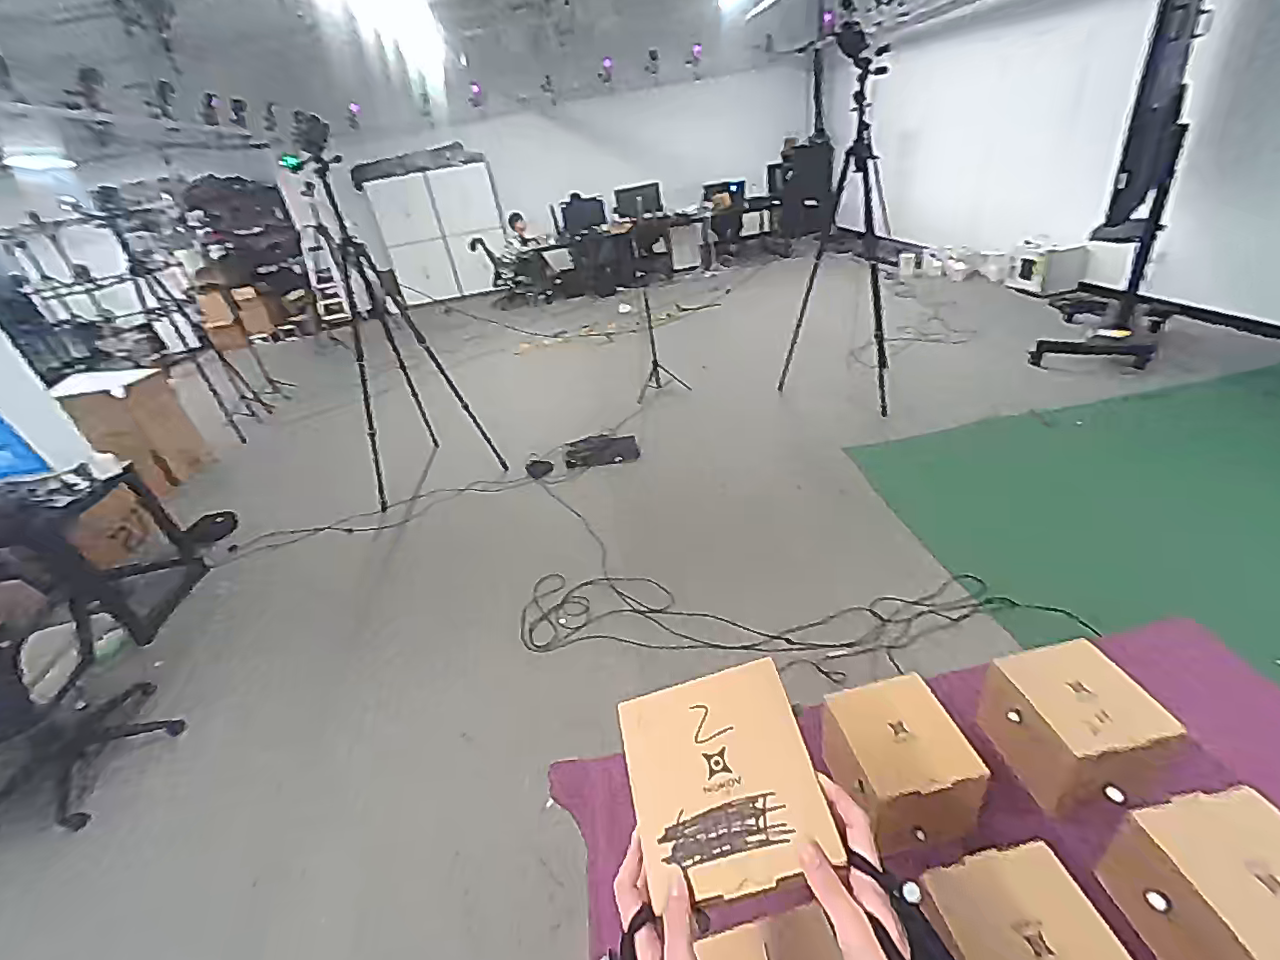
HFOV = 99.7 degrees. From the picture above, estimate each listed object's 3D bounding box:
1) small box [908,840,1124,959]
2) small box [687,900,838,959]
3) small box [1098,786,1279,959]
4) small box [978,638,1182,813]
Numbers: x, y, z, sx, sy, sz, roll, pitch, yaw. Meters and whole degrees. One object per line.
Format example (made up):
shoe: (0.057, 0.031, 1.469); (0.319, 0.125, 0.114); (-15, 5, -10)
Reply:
small box: (0.443, 0.576, 0.641); (0.168, 0.176, 0.179); (-13, 32, -1)
small box: (0.164, 0.640, 0.621); (0.168, 0.176, 0.179); (-14, 29, -5)
small box: (0.712, 0.514, 0.652); (0.168, 0.176, 0.179); (-12, 30, 0)
small box: (0.678, 0.388, 0.863); (0.168, 0.176, 0.179); (-12, 32, -1)
